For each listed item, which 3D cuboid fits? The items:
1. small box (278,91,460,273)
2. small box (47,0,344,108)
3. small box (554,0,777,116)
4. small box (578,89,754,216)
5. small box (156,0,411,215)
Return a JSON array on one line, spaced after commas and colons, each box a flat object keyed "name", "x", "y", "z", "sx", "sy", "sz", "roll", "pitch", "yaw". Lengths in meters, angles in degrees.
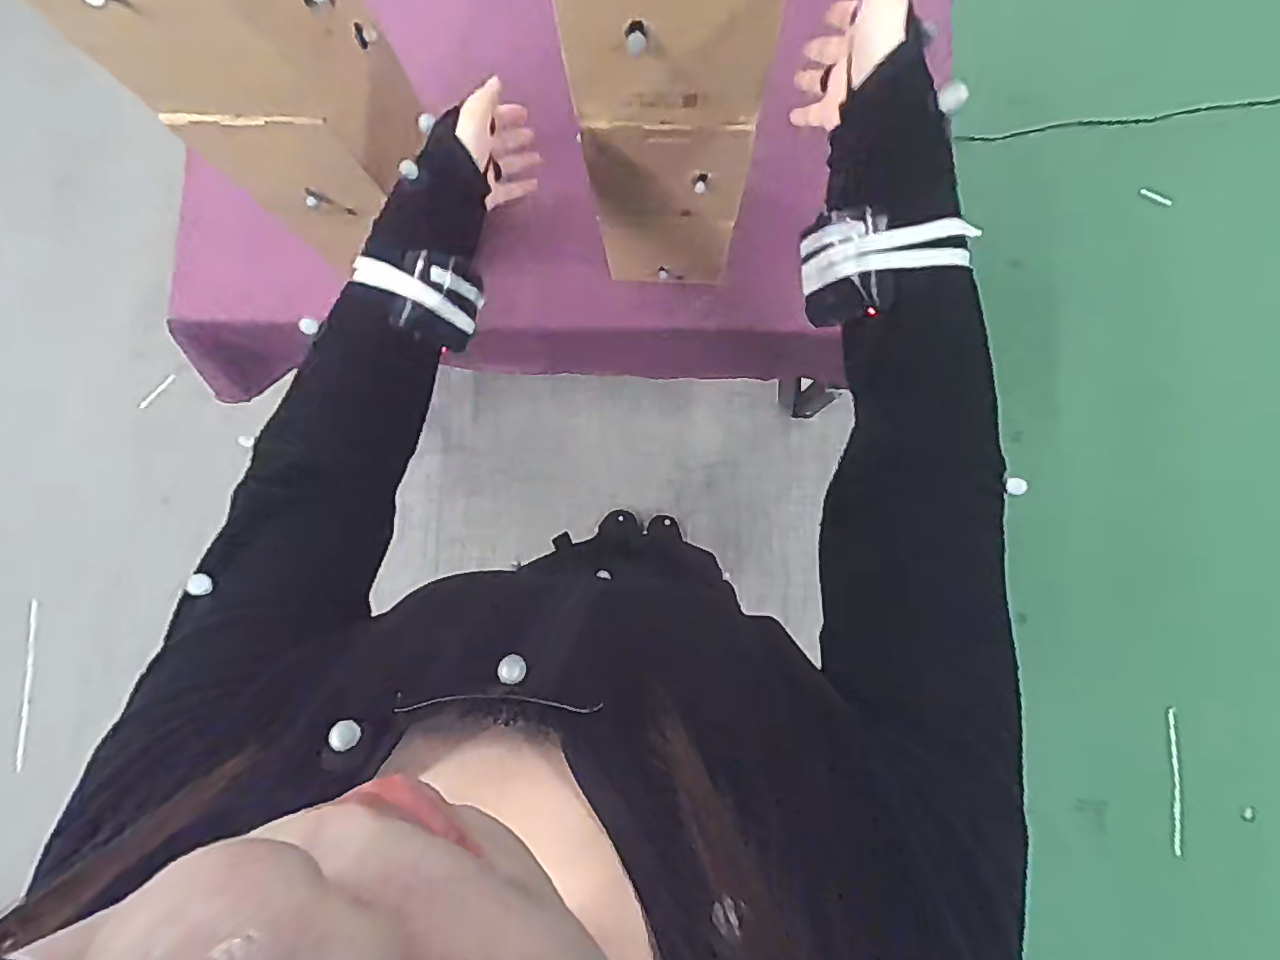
[{"name": "small box", "x": -0.365, "y": -0.407, "z": 0.760, "sx": 0.179, "sy": 0.176, "sz": 0.168, "roll": 0, "pitch": 86, "yaw": 1}, {"name": "small box", "x": -0.371, "y": -0.436, "z": 0.432, "sx": 0.179, "sy": 0.176, "sz": 0.168, "roll": 4, "pitch": 86, "yaw": 1}, {"name": "small box", "x": 0.023, "y": -0.421, "z": 0.420, "sx": 0.168, "sy": 0.176, "sz": 0.179, "roll": 2, "pitch": 86, "yaw": 2}, {"name": "small box", "x": 0.031, "y": -0.409, "z": 0.582, "sx": 0.168, "sy": 0.176, "sz": 0.179, "roll": 2, "pitch": 86, "yaw": 2}, {"name": "small box", "x": -0.371, "y": -0.424, "z": 0.596, "sx": 0.168, "sy": 0.176, "sz": 0.179, "roll": 2, "pitch": 86, "yaw": 3}]
